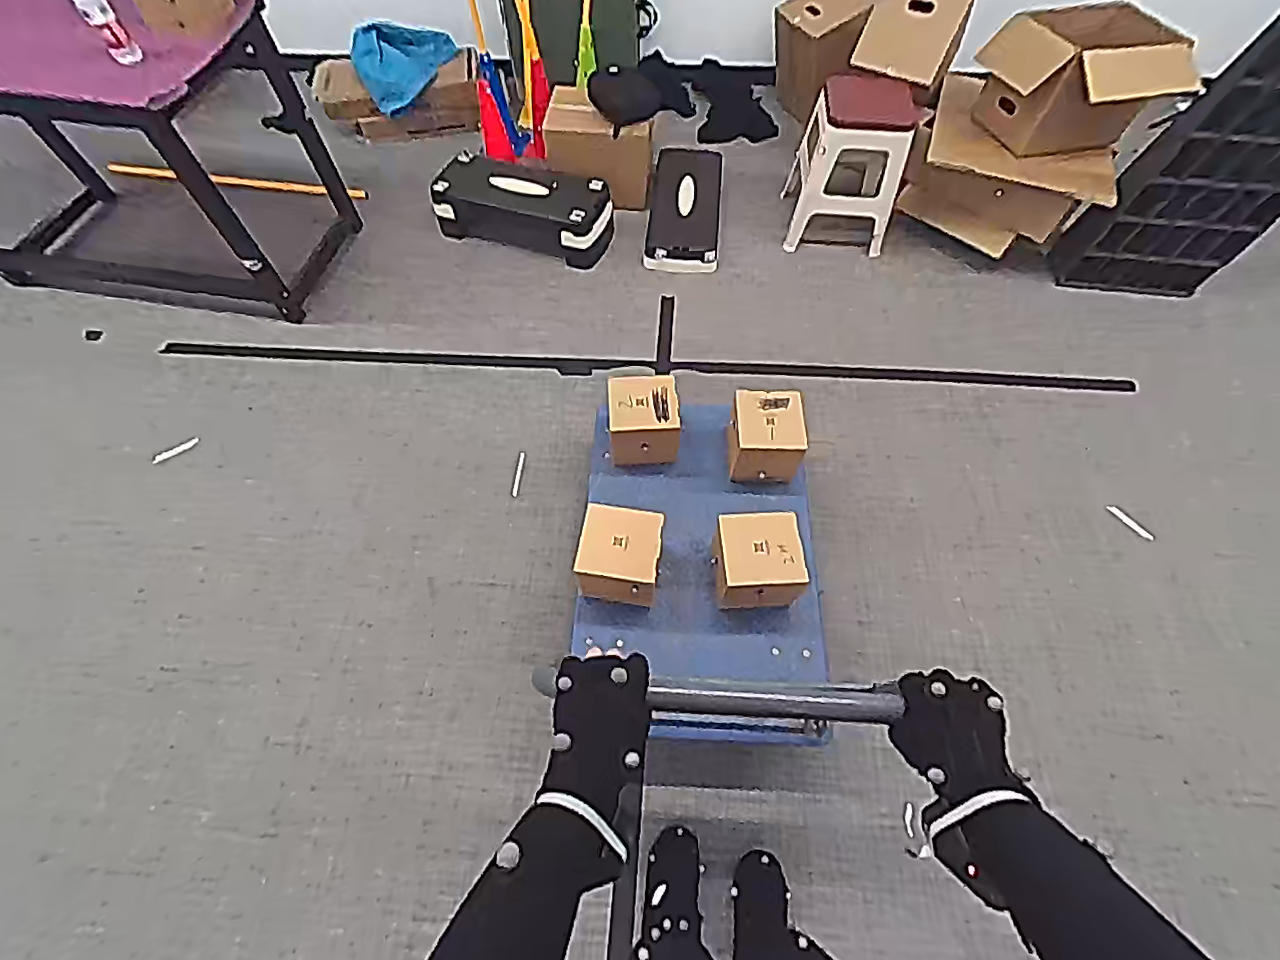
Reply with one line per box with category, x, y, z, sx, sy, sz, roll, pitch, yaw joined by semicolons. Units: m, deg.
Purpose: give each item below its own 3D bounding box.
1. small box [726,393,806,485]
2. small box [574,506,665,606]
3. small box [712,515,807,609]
small box;0.320;-0.105;1.405;0.168;0.176;0.179;2;62;1
small box;-0.044;0.179;1.245;0.179;0.176;0.168;9;61;3
small box;0.262;0.192;1.238;0.179;0.176;0.168;-2;61;-1
